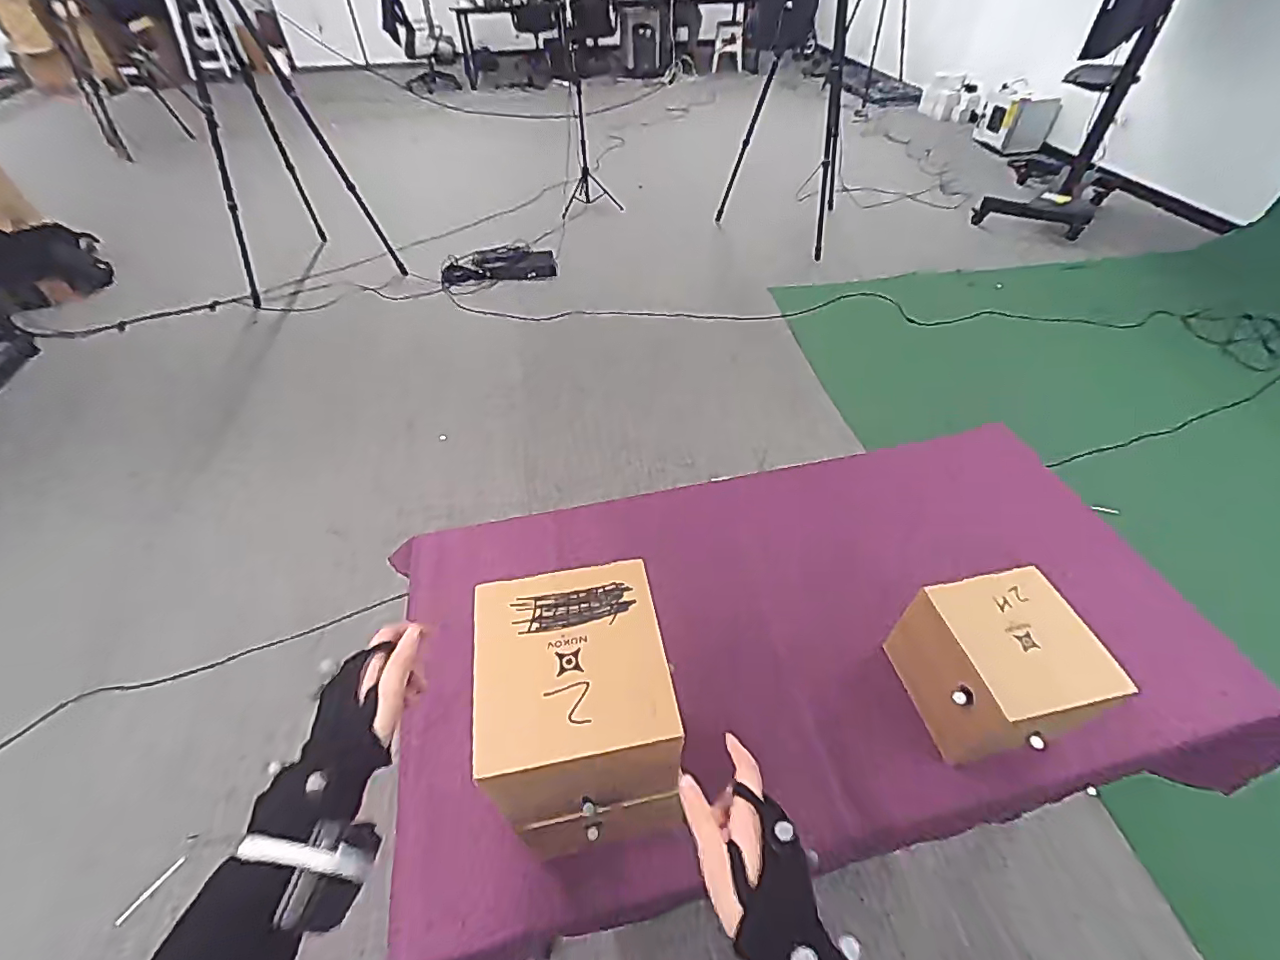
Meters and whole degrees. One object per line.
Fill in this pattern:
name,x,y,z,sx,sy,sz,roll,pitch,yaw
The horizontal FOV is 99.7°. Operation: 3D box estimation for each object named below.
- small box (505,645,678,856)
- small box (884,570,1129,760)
small box,-0.057,0.326,0.649,0.179,0.176,0.168,-9,47,-8
small box,0.457,0.248,0.711,0.168,0.176,0.179,-8,47,-7
